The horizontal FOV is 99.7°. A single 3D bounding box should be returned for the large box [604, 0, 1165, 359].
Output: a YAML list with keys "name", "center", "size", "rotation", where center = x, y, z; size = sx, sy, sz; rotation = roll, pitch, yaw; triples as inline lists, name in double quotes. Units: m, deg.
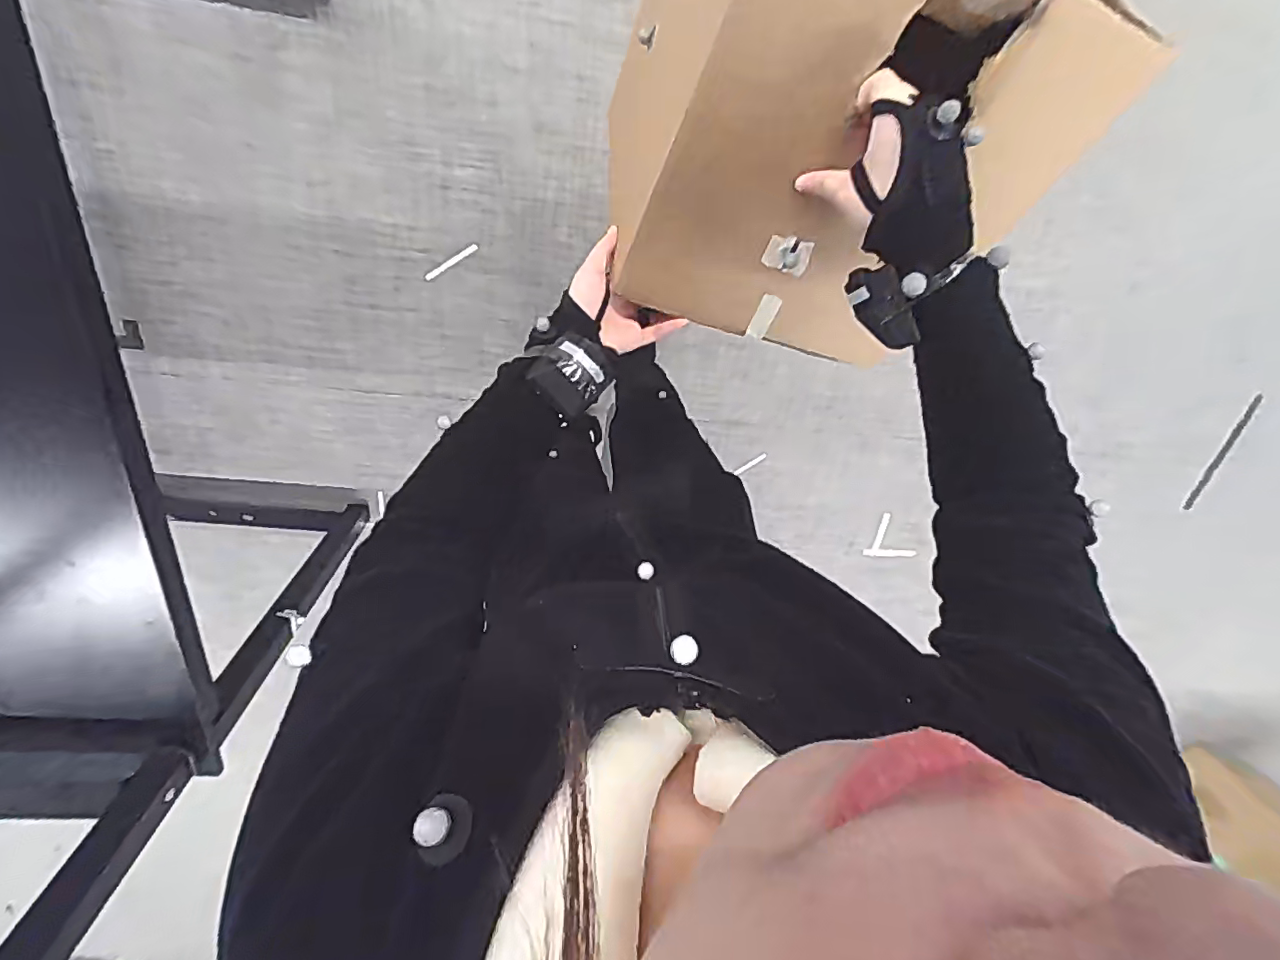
- name: "large box"
  center: [0.155, -0.391, 0.547]
  size: [0.320, 0.408, 0.320]
  rotation: [11, 142, -19]
